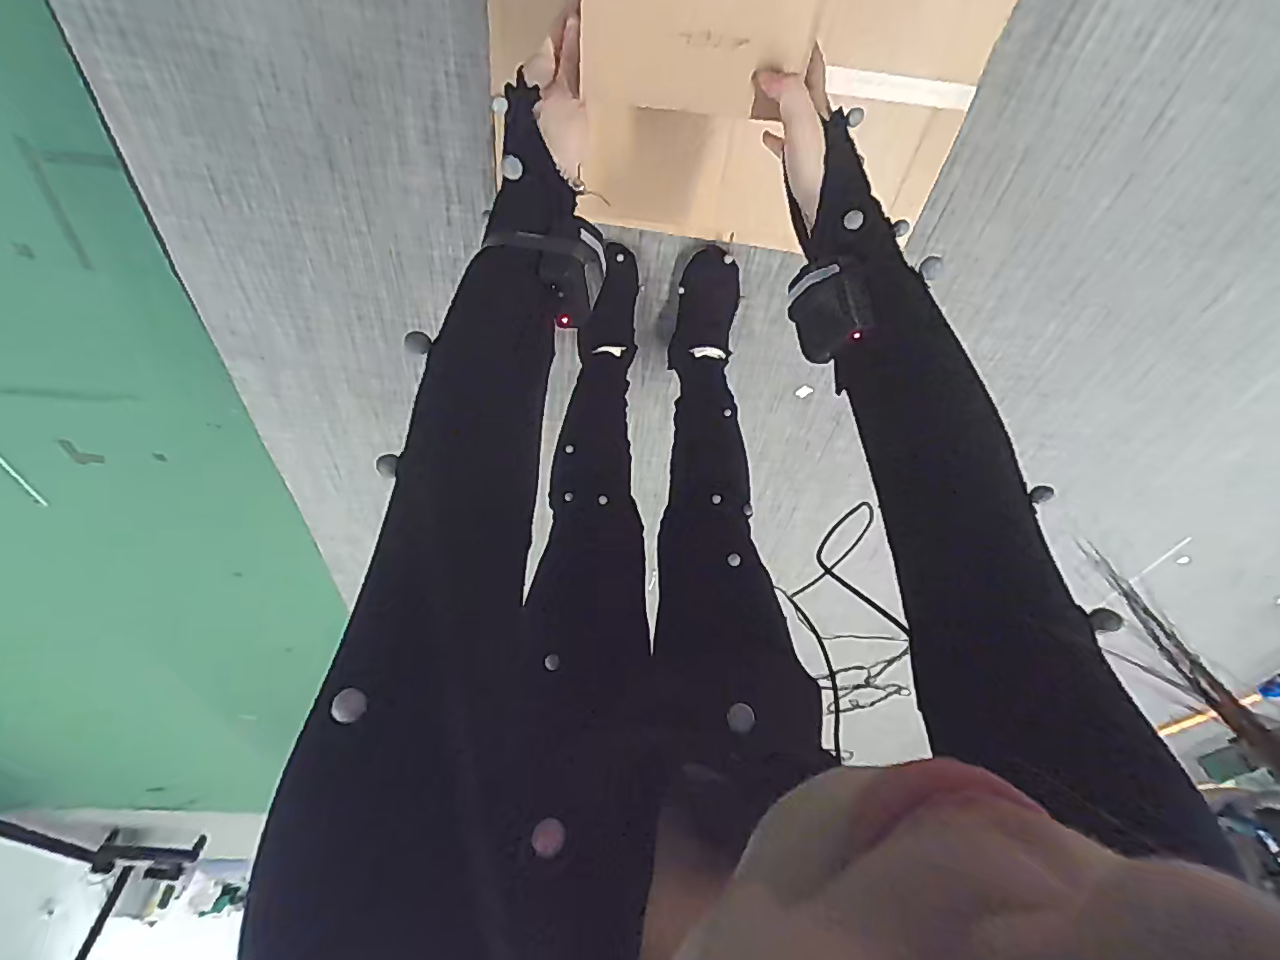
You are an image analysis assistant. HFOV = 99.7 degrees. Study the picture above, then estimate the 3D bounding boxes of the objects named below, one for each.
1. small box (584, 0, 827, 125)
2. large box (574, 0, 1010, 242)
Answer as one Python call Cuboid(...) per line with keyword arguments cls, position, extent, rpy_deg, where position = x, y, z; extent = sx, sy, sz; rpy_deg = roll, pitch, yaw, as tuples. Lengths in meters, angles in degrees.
Cuboid(cls="small box", position=(0.045, -0.394, 0.406), extent=(0.168, 0.176, 0.179), rpy_deg=(3, 135, -4))
Cuboid(cls="large box", position=(0.131, -0.508, 0.635), extent=(0.408, 0.320, 0.320), rpy_deg=(3, 135, -6))
